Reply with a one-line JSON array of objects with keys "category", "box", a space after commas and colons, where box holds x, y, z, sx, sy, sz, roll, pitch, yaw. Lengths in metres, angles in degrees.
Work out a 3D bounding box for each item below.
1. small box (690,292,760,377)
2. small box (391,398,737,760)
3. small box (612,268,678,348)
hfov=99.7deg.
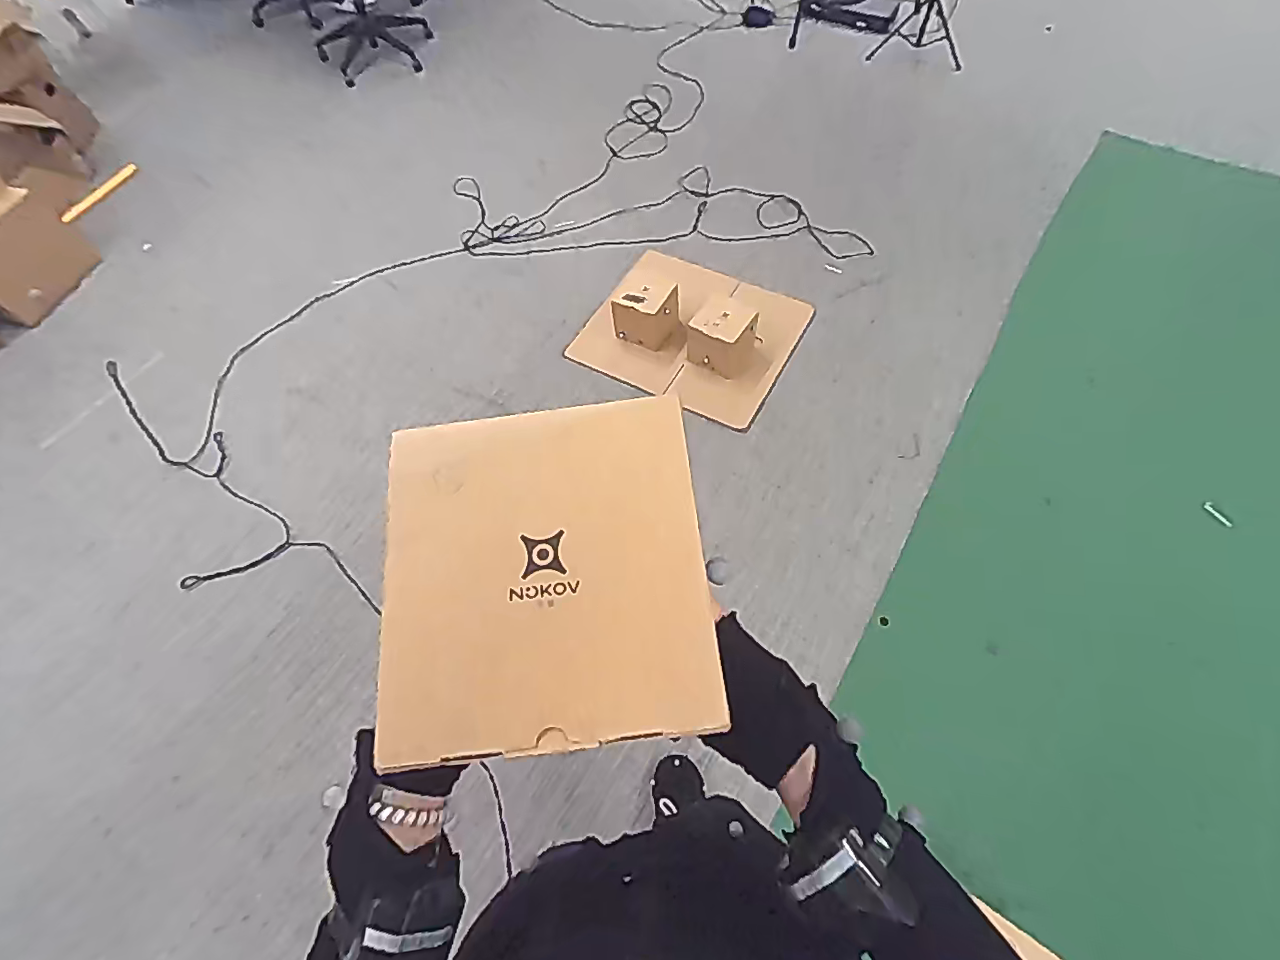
[{"category": "small box", "box": [0.272, -0.475, 1.777, 0.168, 0.176, 0.179, 30, 68, 19]}, {"category": "small box", "box": [-0.041, 0.069, 0.356, 0.168, 0.176, 0.179, -7, 70, 0]}, {"category": "small box", "box": [0.024, -0.583, 1.847, 0.168, 0.176, 0.179, 24, 65, 16]}]
